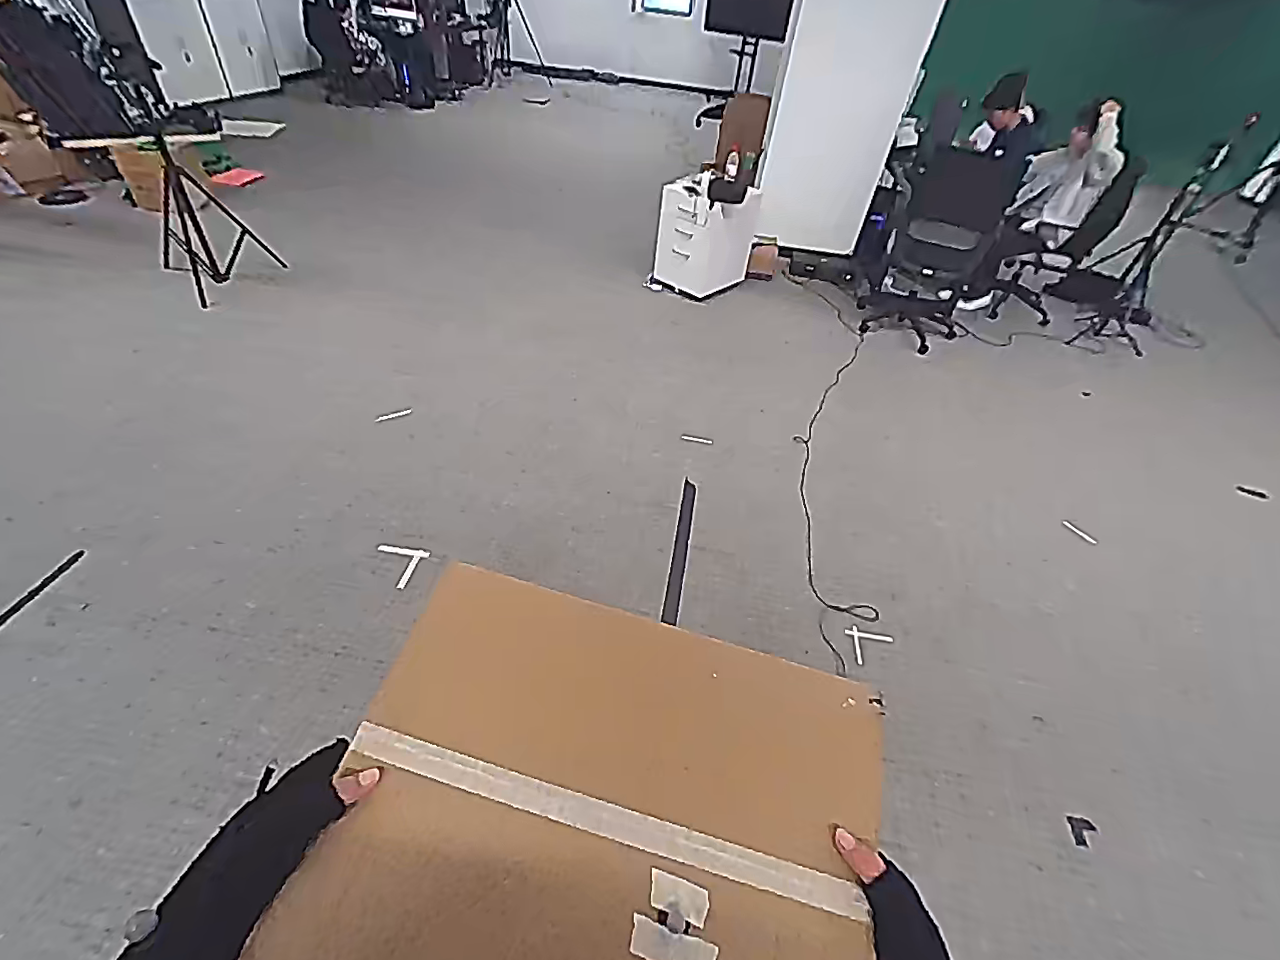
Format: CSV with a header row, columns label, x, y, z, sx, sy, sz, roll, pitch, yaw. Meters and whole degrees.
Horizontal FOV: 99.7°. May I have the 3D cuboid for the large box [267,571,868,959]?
label,x,y,z,sx,sy,sz,roll,pitch,yaw
large box,-0.036,0.336,0.546,0.408,0.320,0.320,15,58,5
